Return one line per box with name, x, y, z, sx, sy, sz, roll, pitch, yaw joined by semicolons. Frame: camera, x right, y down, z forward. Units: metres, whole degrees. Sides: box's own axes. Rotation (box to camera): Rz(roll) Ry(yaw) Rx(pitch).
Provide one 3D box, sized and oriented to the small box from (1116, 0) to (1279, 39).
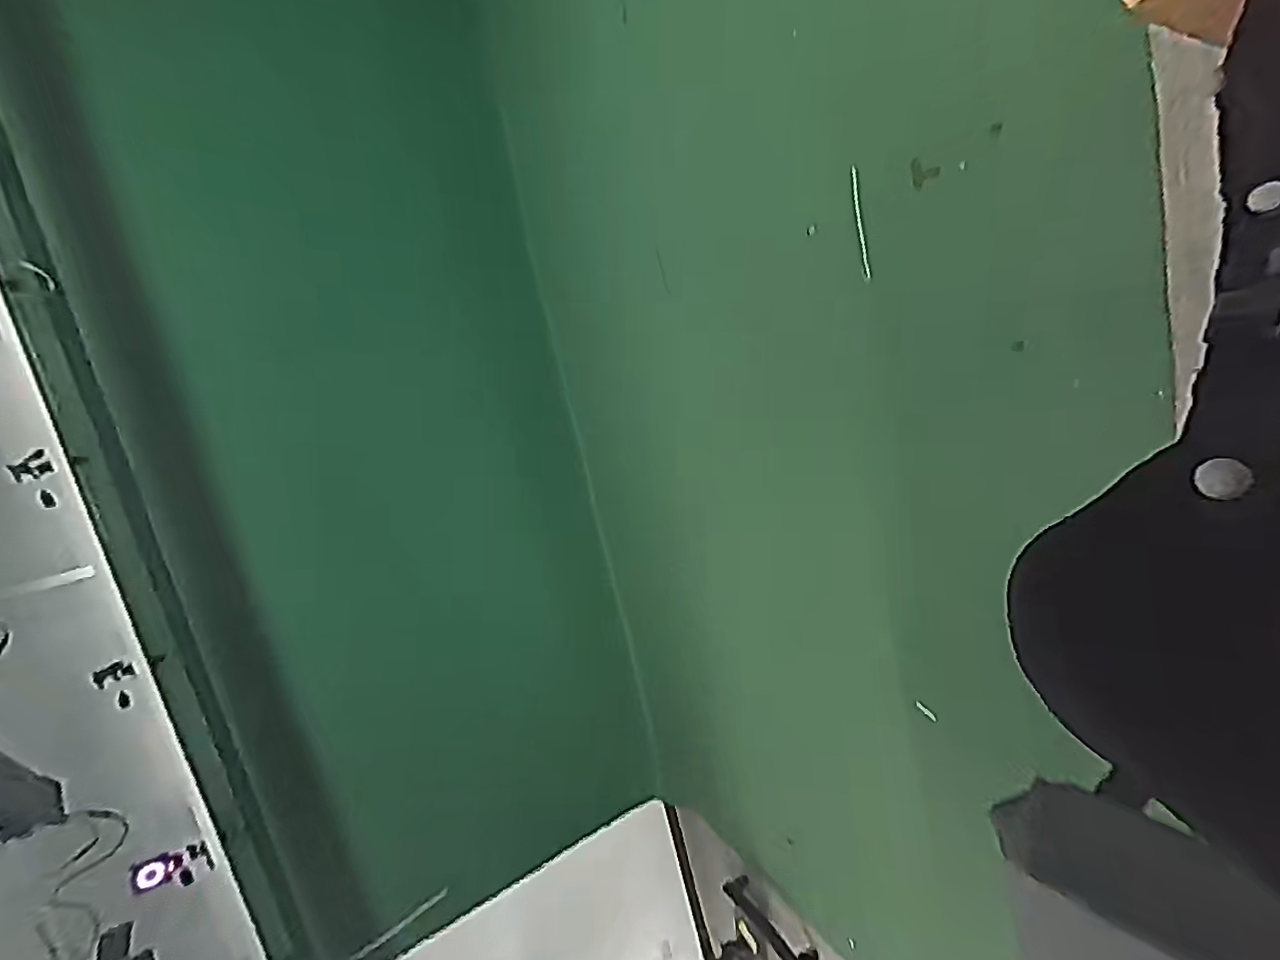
small box;0.399;-0.386;0.293;0.168;0.176;0.179;-177;80;-66
